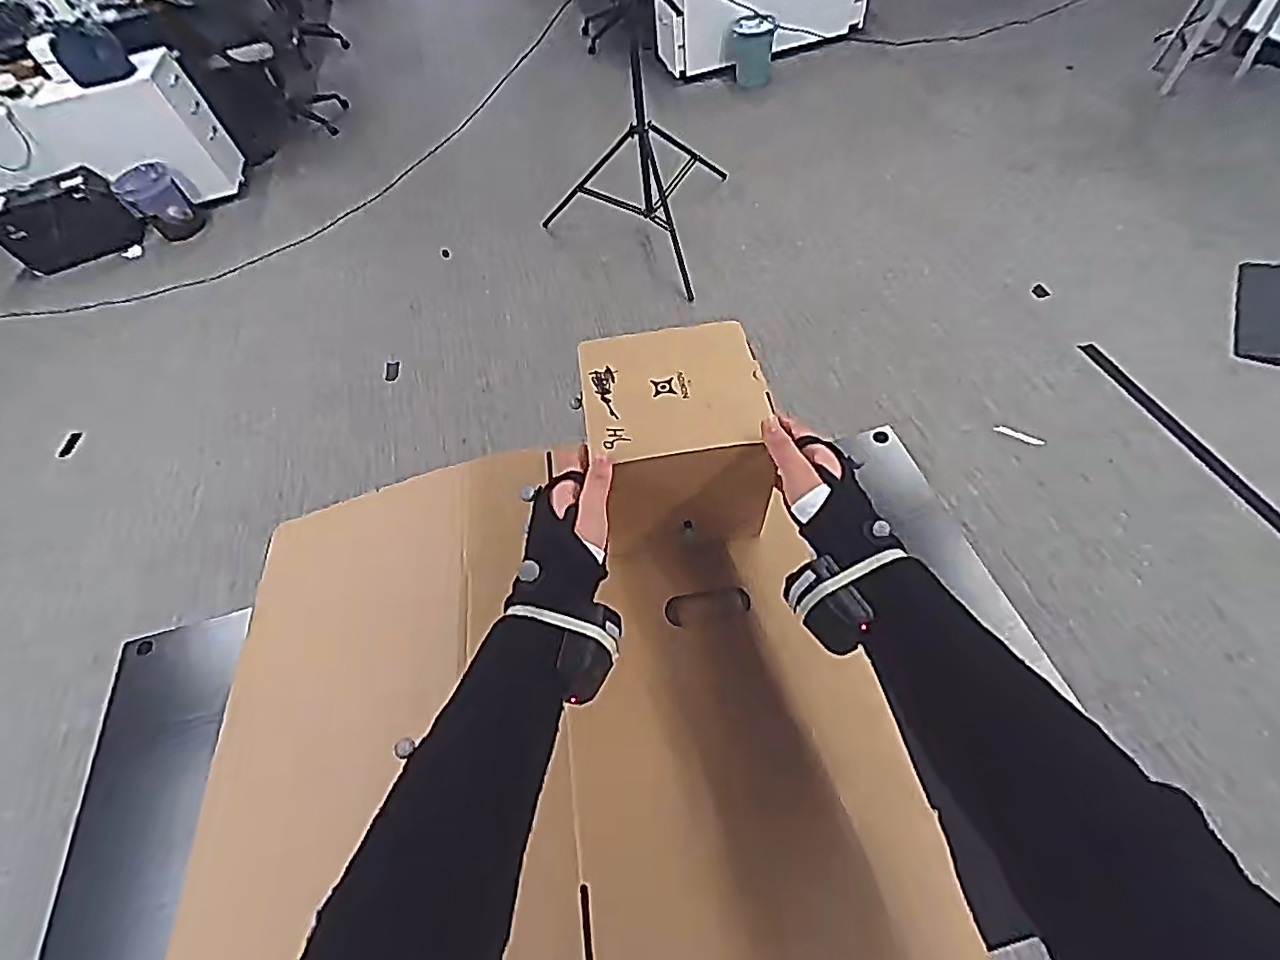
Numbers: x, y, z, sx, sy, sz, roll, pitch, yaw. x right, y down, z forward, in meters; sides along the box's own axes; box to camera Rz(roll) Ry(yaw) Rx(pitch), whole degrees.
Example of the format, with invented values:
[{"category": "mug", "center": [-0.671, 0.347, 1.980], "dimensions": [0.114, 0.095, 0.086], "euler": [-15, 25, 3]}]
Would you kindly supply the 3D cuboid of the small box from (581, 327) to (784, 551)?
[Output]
[{"category": "small box", "center": [0.036, -0.040, 0.589], "dimensions": [0.179, 0.176, 0.168], "euler": [-8, 54, -3]}]
